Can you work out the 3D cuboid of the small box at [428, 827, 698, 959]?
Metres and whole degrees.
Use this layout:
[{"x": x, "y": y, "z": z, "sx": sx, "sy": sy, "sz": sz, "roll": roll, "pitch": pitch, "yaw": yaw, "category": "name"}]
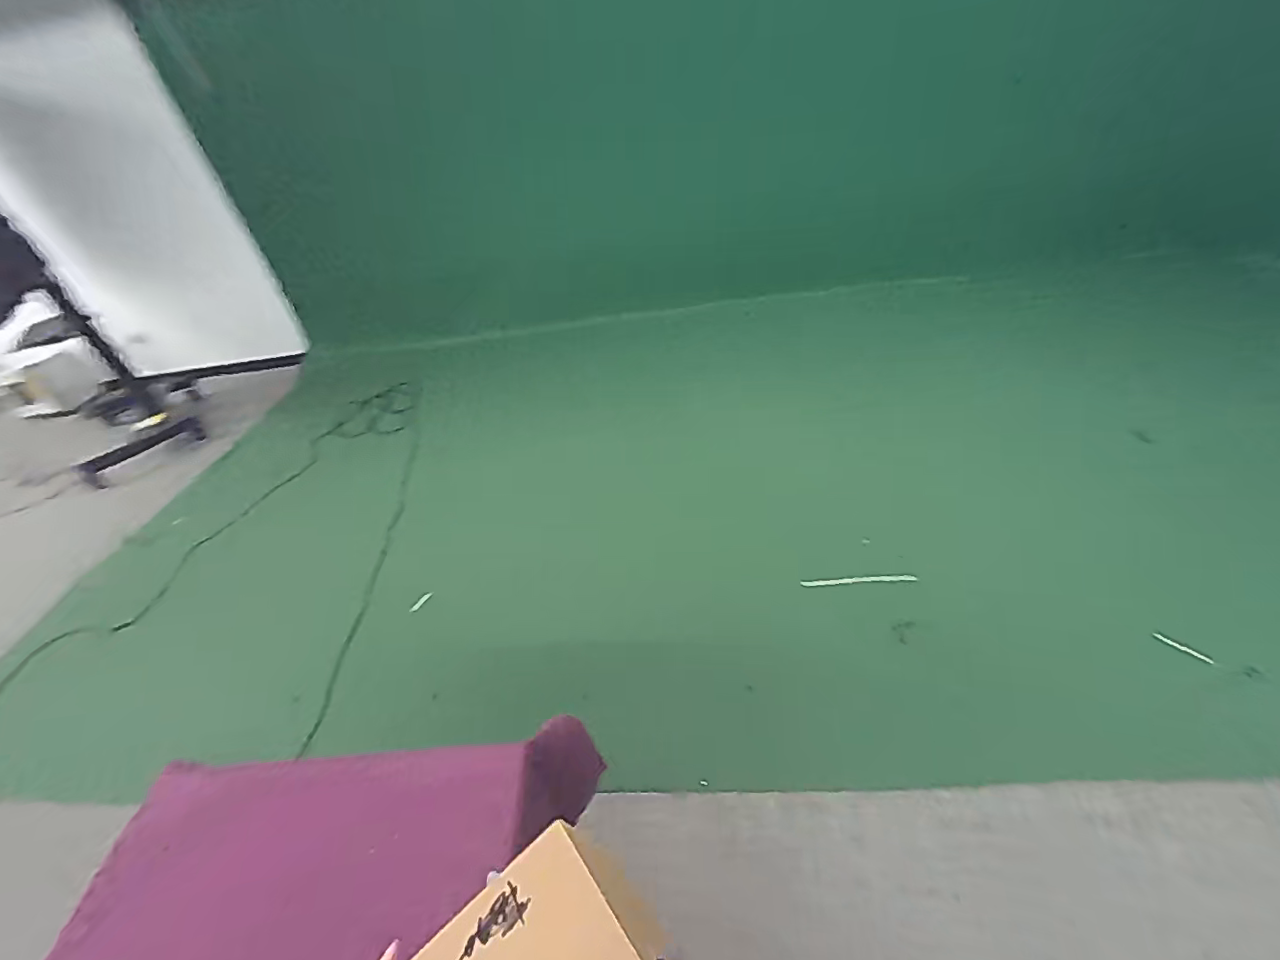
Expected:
[{"x": -0.038, "y": 0.391, "z": 0.379, "sx": 0.168, "sy": 0.176, "sz": 0.179, "roll": -37, "pitch": 48, "yaw": -16, "category": "small box"}]
